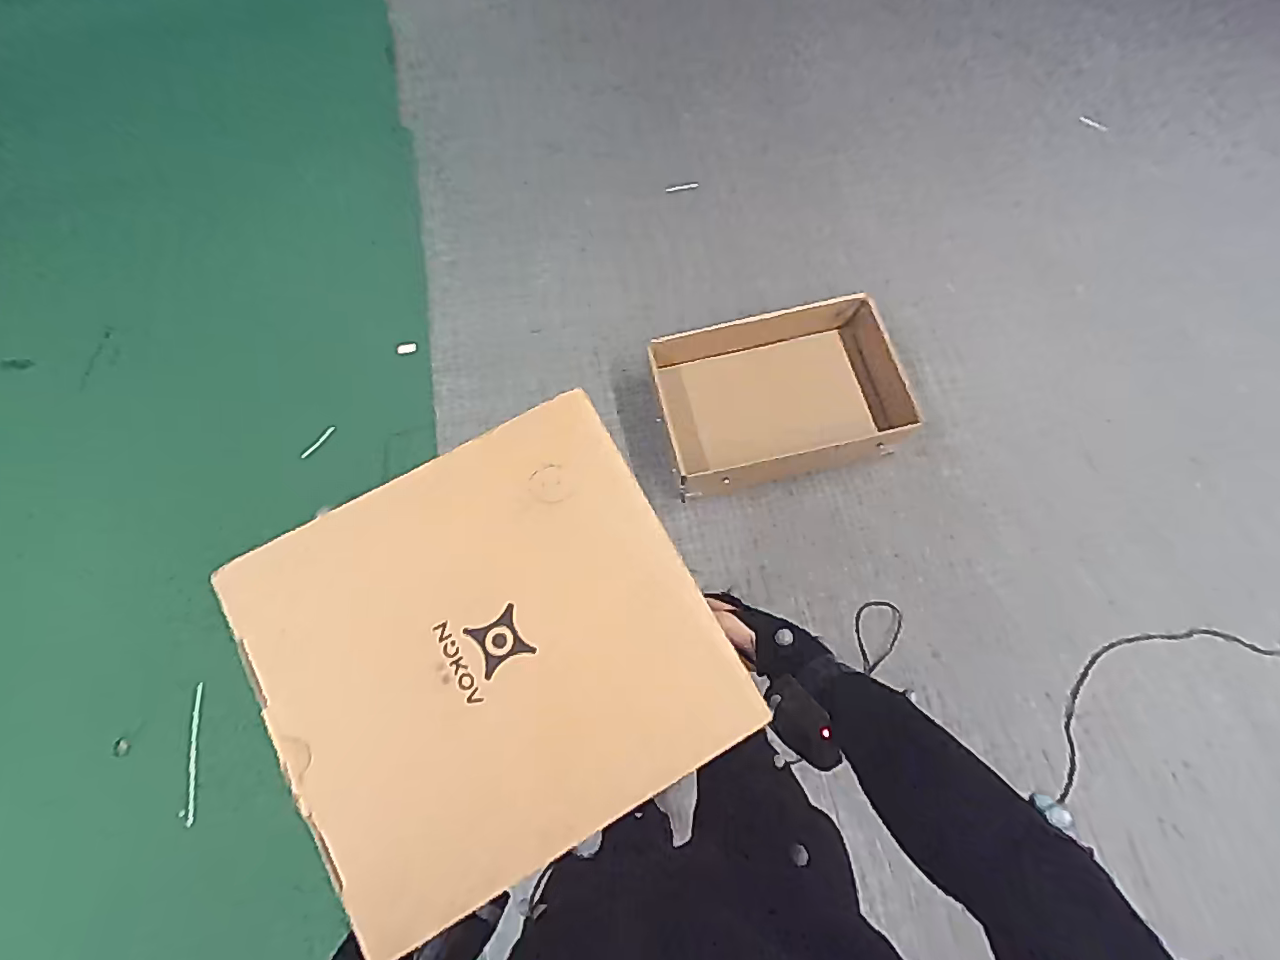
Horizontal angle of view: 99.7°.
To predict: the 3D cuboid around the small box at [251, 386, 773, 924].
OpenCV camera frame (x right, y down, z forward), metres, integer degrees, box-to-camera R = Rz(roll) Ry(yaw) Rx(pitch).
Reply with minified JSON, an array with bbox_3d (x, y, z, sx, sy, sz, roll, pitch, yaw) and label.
[{"bbox_3d":[-0.058,0.079,0.308,0.179,0.176,0.168,-28,79,-7],"label":"small box"}]
